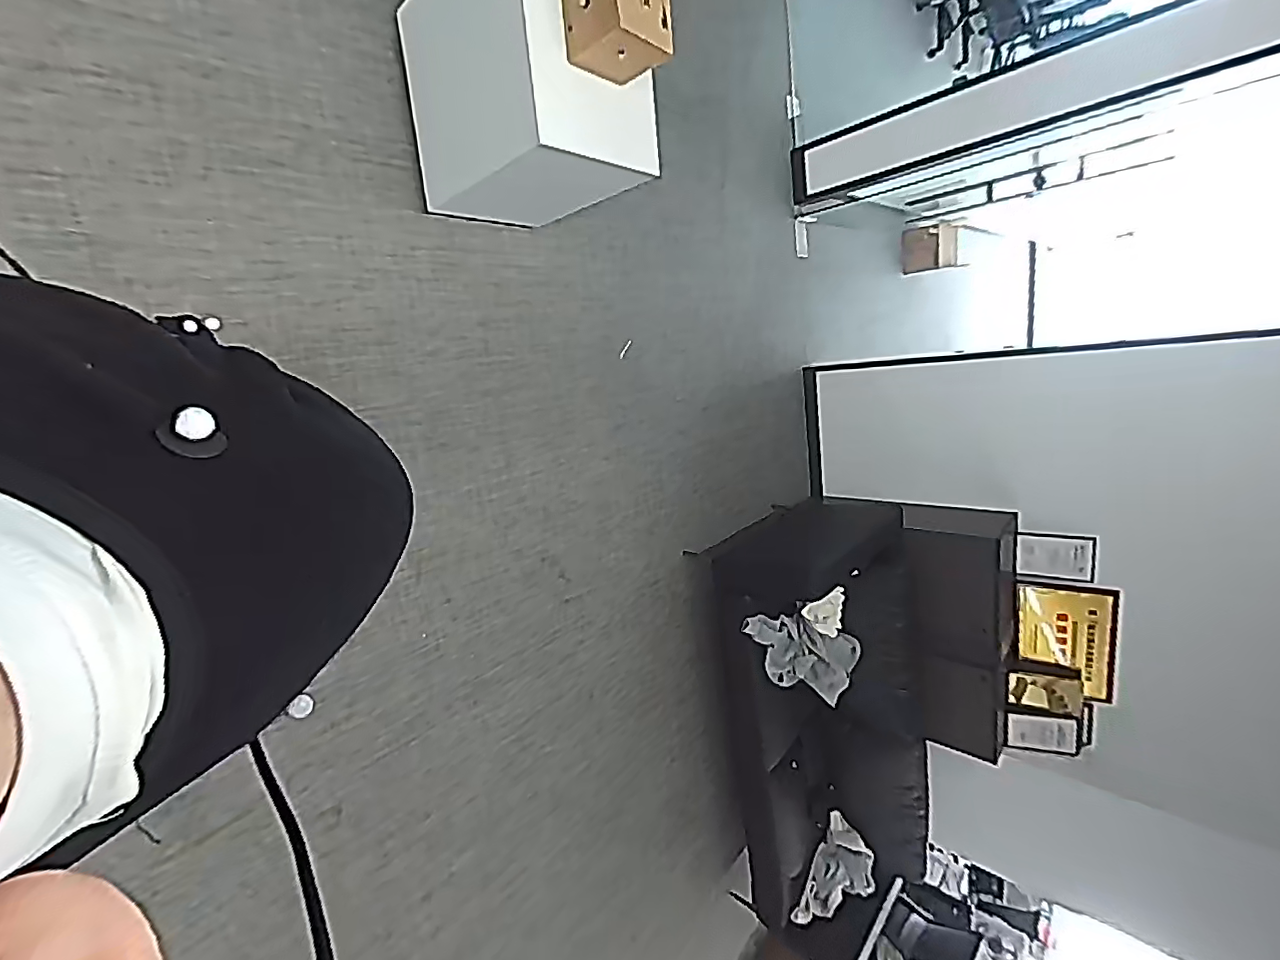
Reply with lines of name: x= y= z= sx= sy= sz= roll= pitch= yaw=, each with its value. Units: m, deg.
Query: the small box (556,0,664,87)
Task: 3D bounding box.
small box: x=-0.072 y=-1.025 z=1.214 sx=0.179 sy=0.176 sz=0.168 roll=-20 pitch=108 yaw=-45
